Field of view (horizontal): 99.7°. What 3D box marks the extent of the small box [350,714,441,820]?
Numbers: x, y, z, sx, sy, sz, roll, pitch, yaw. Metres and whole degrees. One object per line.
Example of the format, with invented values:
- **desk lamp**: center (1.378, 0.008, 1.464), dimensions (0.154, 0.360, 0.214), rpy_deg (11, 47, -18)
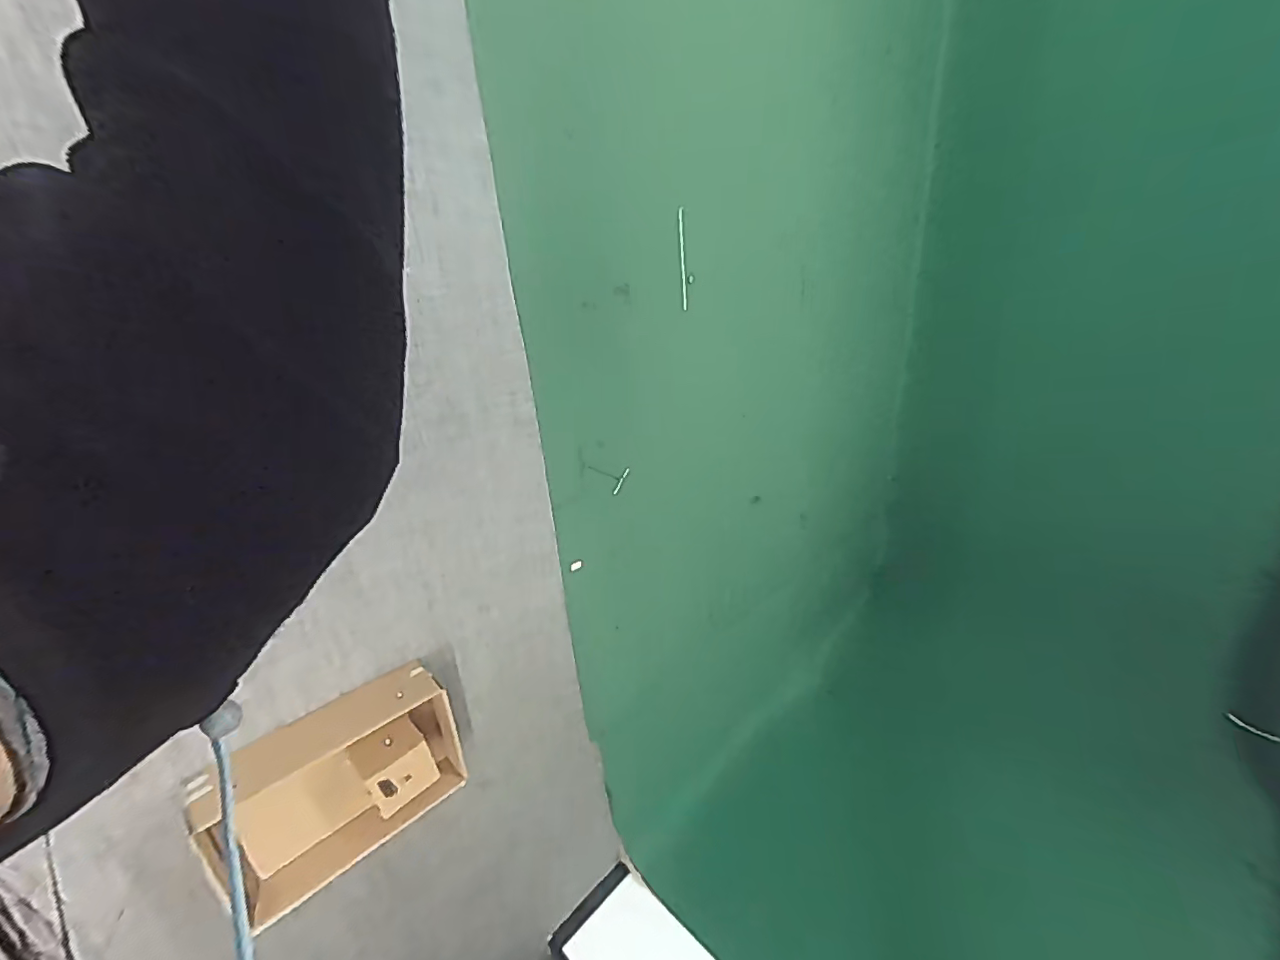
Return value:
- **small box**: center (-0.724, 0.835, 1.589), dimensions (0.179, 0.176, 0.168), rpy_deg (-30, 123, -39)
